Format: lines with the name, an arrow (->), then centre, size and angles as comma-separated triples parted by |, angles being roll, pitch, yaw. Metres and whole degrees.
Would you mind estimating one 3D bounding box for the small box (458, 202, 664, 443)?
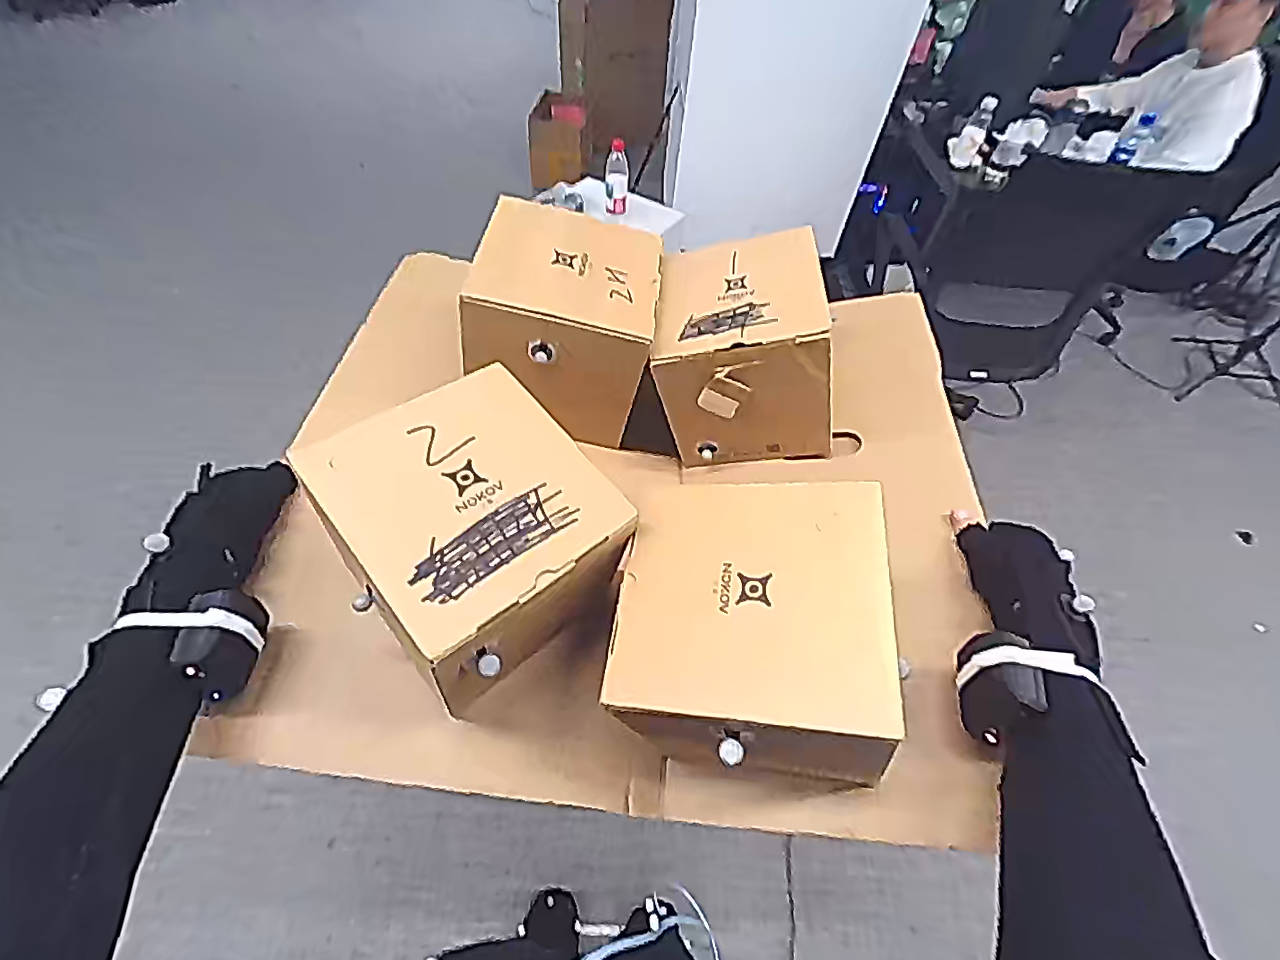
small box -> -0.083, -0.160, 0.587 | 0.179, 0.176, 0.168 | 12, 56, -8
